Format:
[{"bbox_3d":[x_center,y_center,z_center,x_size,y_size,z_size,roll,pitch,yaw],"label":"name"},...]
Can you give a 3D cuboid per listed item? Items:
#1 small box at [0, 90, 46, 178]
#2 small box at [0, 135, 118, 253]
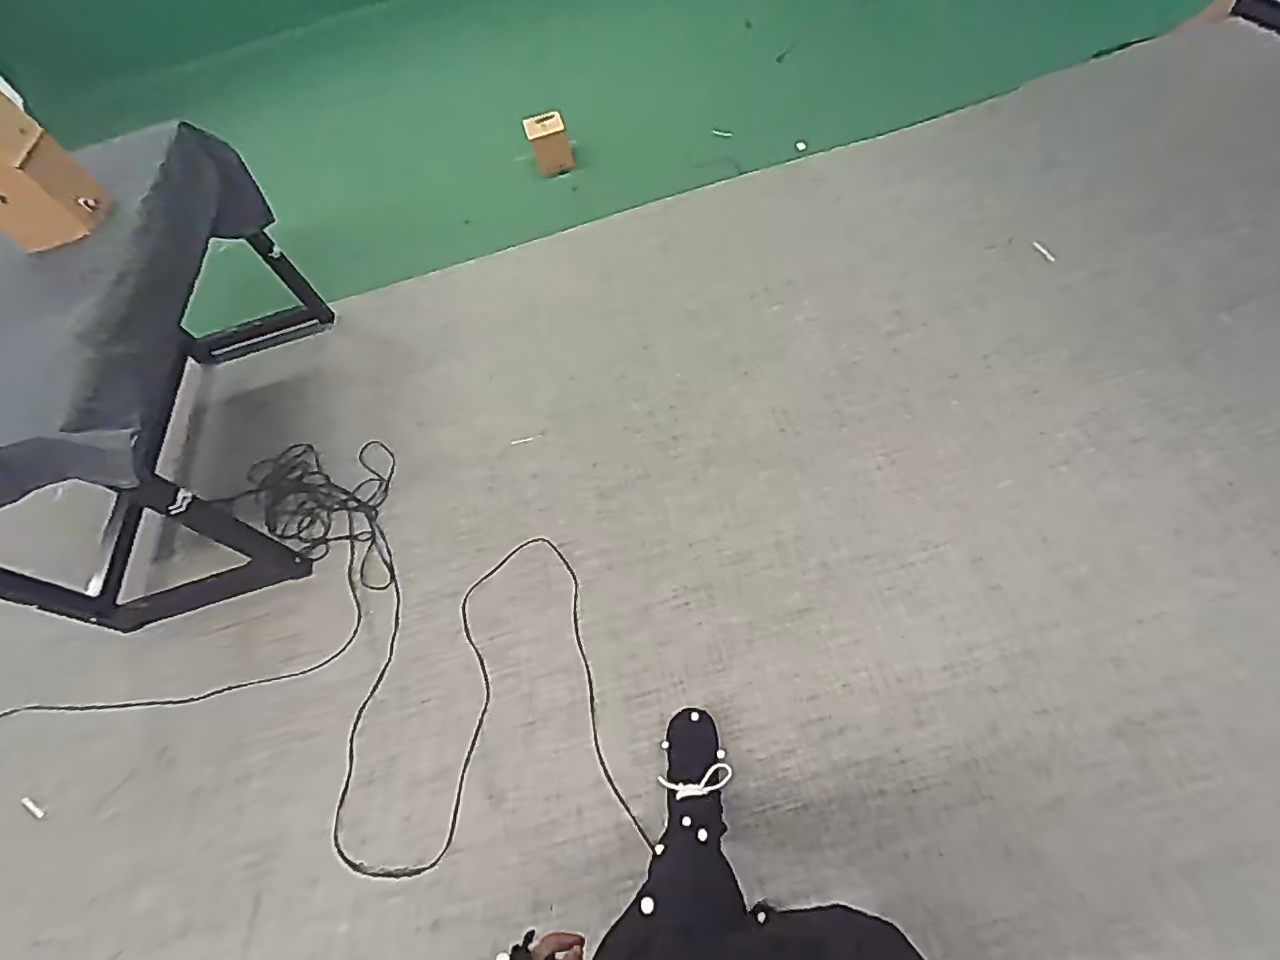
[{"bbox_3d":[-1.434,-0.748,1.137,0.179,0.176,0.168,-18,59,2],"label":"small box"},{"bbox_3d":[-1.414,-0.669,1.278,0.179,0.176,0.168,-16,59,1],"label":"small box"}]
